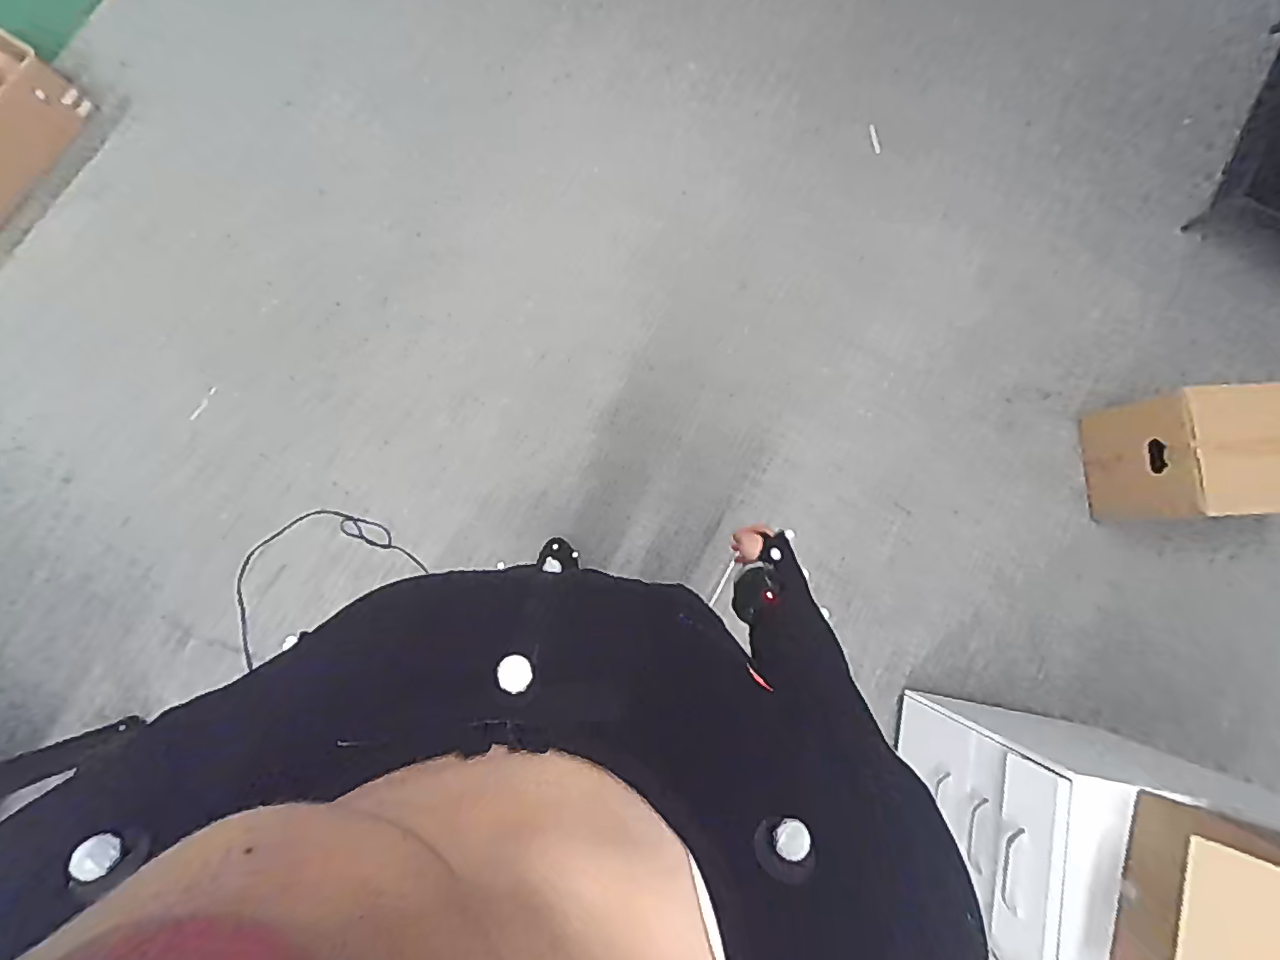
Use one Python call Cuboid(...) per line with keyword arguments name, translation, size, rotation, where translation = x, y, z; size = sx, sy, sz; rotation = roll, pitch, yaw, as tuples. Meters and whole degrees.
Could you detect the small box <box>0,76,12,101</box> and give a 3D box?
Cuboid(name="small box", translation=(-1.881, -1.108, 1.441), size=(0.179, 0.176, 0.168), rotation=(38, 84, 0))
